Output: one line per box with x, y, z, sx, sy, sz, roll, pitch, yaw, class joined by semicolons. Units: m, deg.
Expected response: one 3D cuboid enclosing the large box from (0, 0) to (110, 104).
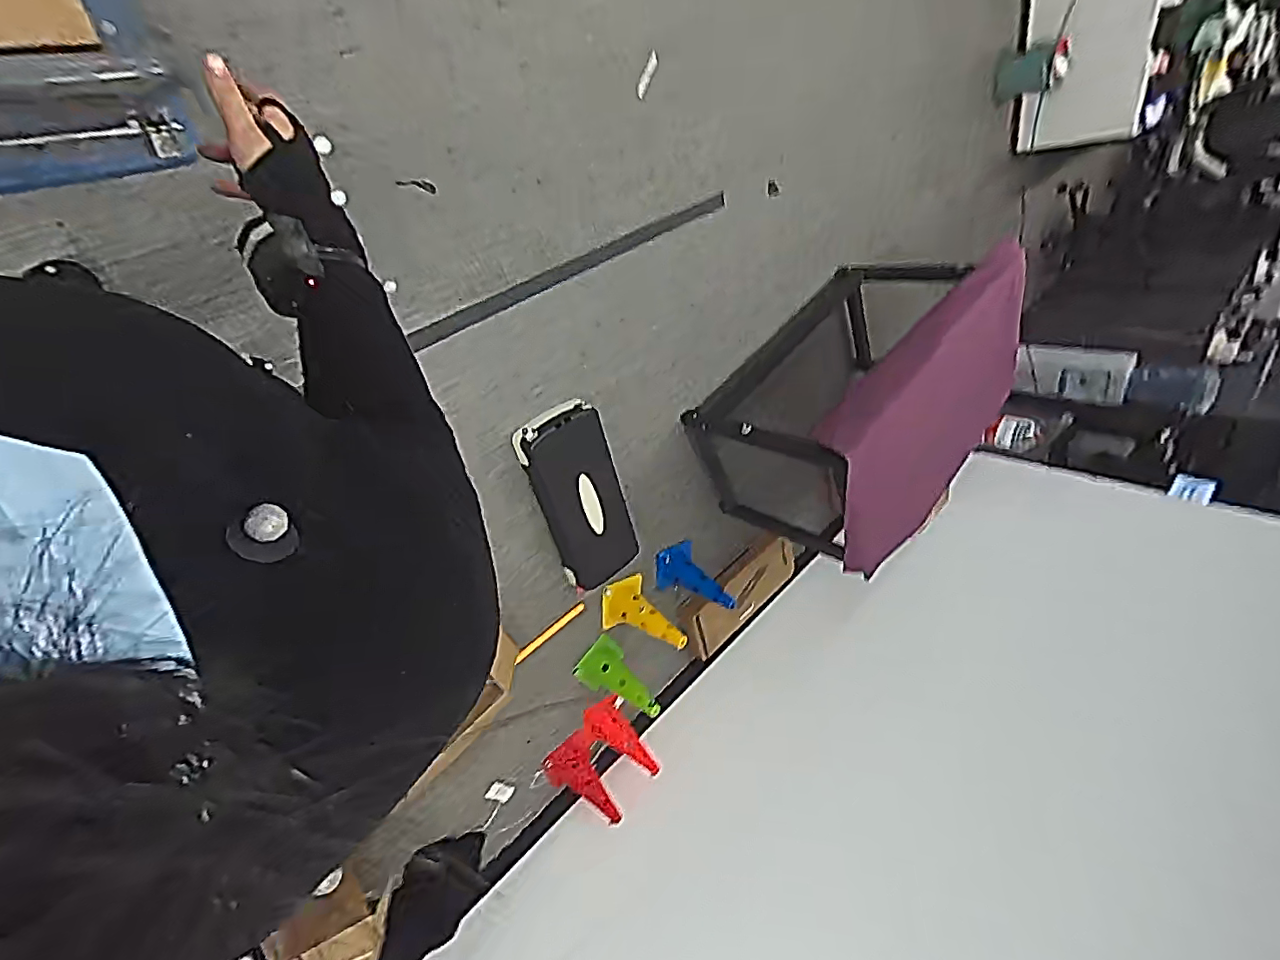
-0.924;-0.615;0.589;0.408;0.320;0.320;-31;126;-30;large box
